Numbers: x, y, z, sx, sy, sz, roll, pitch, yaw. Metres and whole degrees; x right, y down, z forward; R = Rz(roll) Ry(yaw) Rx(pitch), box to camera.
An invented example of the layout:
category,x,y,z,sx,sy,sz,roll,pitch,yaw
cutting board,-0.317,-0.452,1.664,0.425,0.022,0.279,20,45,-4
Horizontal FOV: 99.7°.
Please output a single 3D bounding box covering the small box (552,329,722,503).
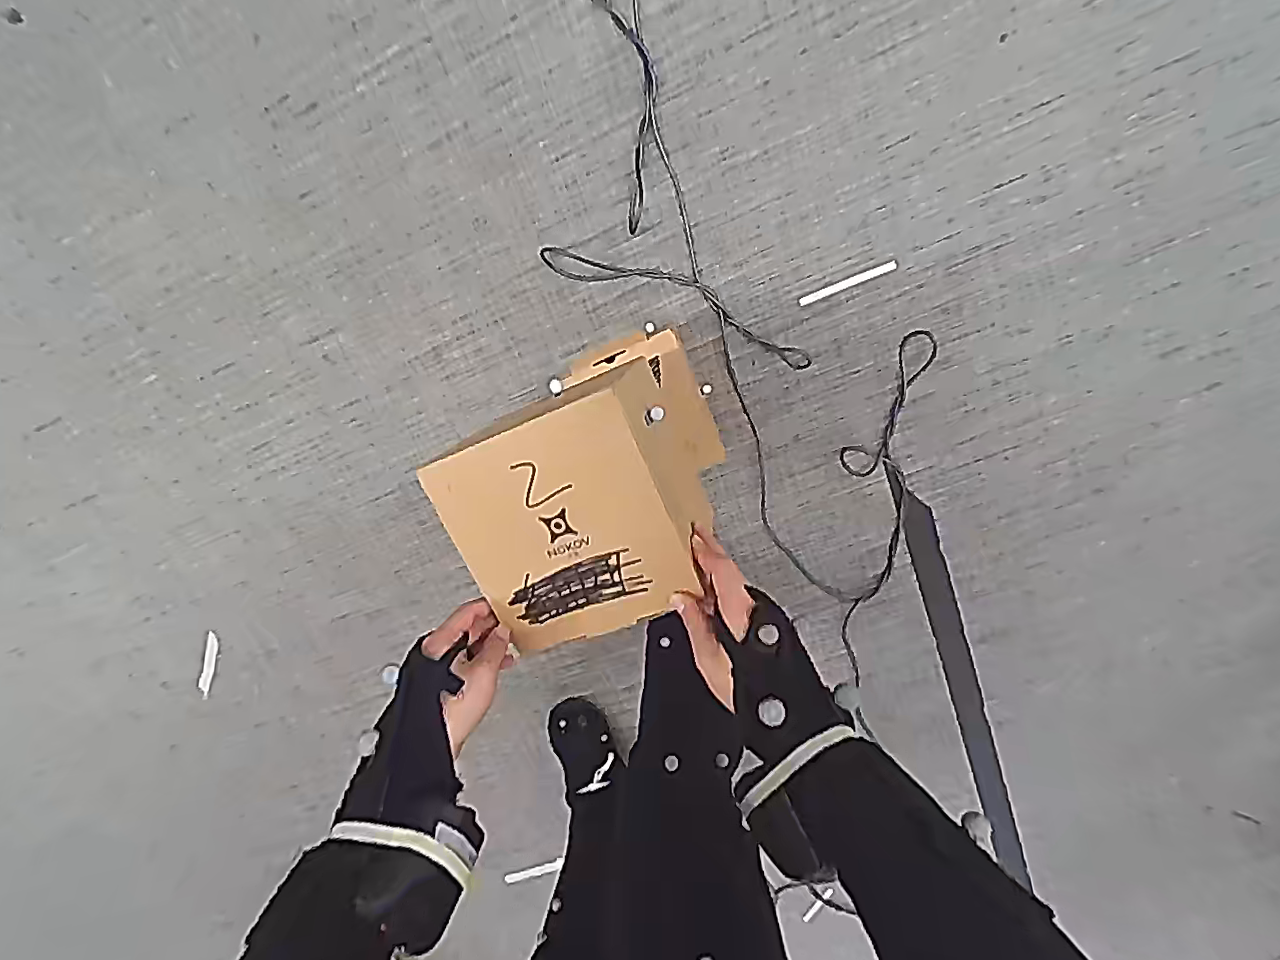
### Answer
category,x,y,z,sx,sy,sz,roll,pitch,yaw
small box,0.001,-0.097,0.750,0.168,0.176,0.179,-22,106,11
